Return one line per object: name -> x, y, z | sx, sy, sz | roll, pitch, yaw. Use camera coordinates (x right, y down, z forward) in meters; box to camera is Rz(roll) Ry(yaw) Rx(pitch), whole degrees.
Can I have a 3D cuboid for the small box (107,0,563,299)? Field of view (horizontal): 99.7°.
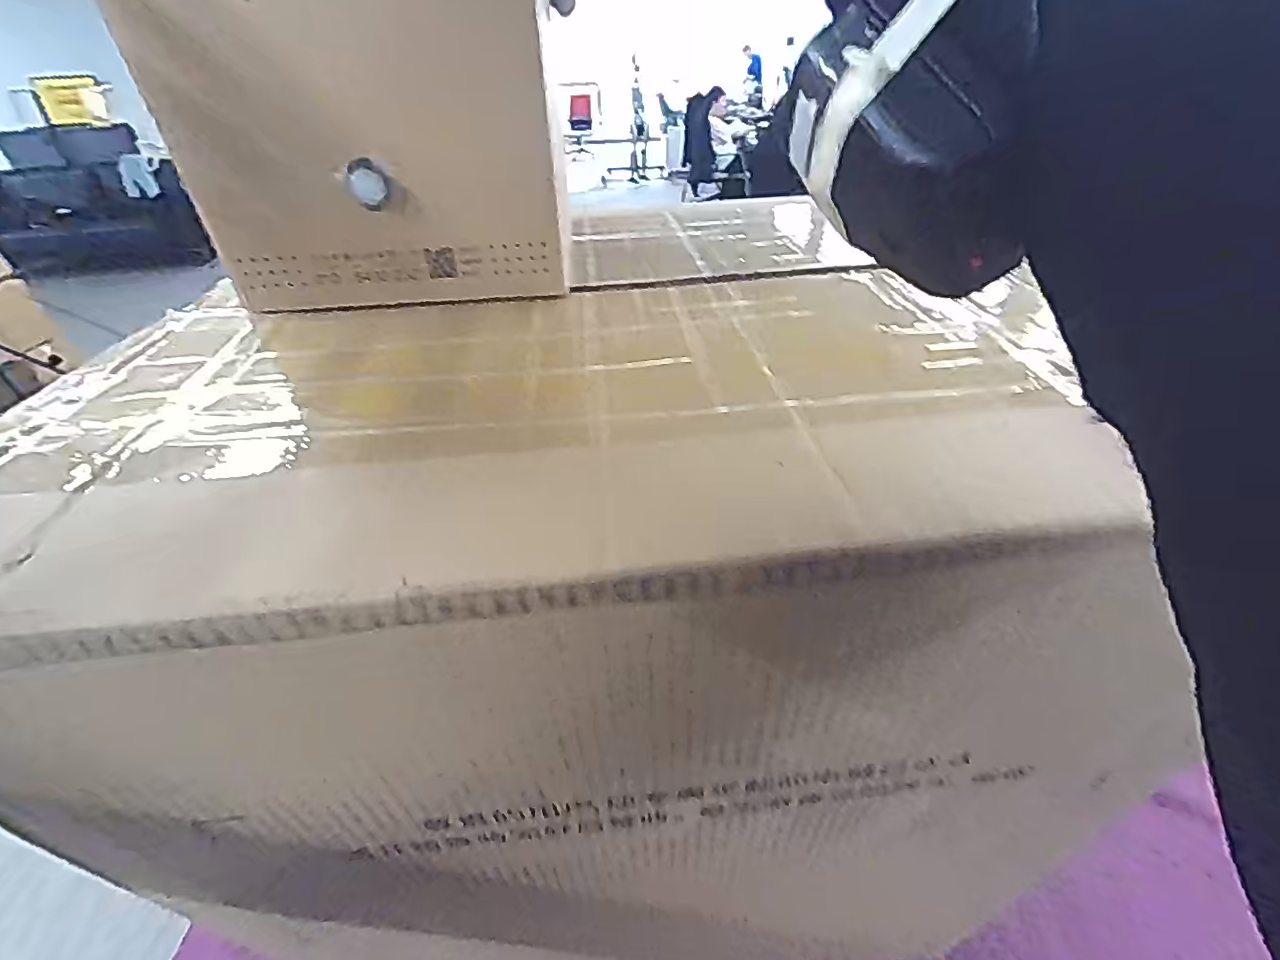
small box -> -0.135, -0.209, 0.293 | 0.168, 0.176, 0.179 | -5, 38, -3
